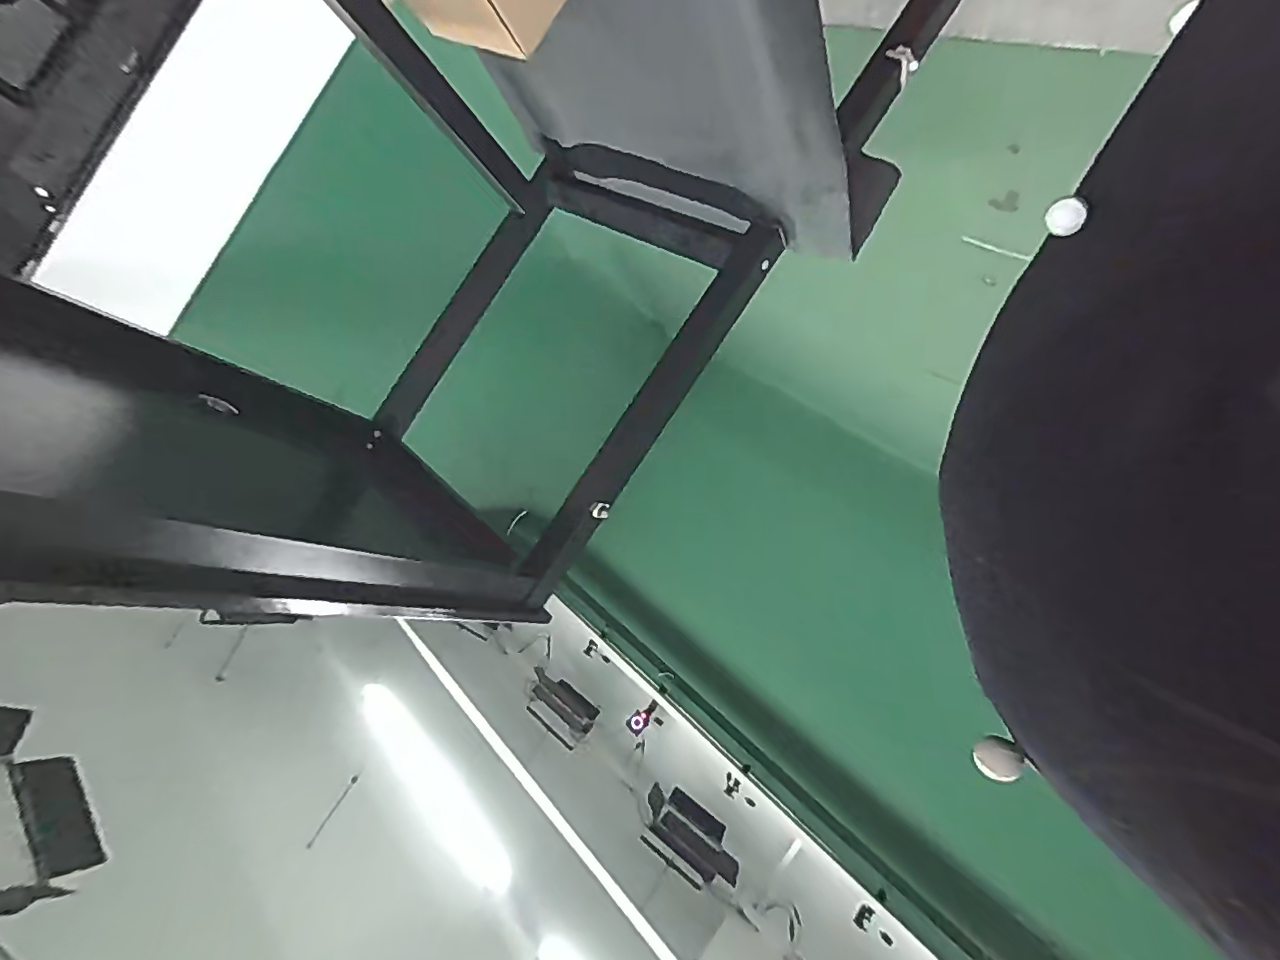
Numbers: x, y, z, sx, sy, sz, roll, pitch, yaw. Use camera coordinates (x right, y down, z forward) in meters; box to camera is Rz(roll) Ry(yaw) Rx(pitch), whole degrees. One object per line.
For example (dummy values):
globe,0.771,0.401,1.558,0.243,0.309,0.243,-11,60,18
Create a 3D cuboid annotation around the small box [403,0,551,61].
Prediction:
small box,-0.159,-0.538,0.485,0.168,0.176,0.179,35,-179,26
